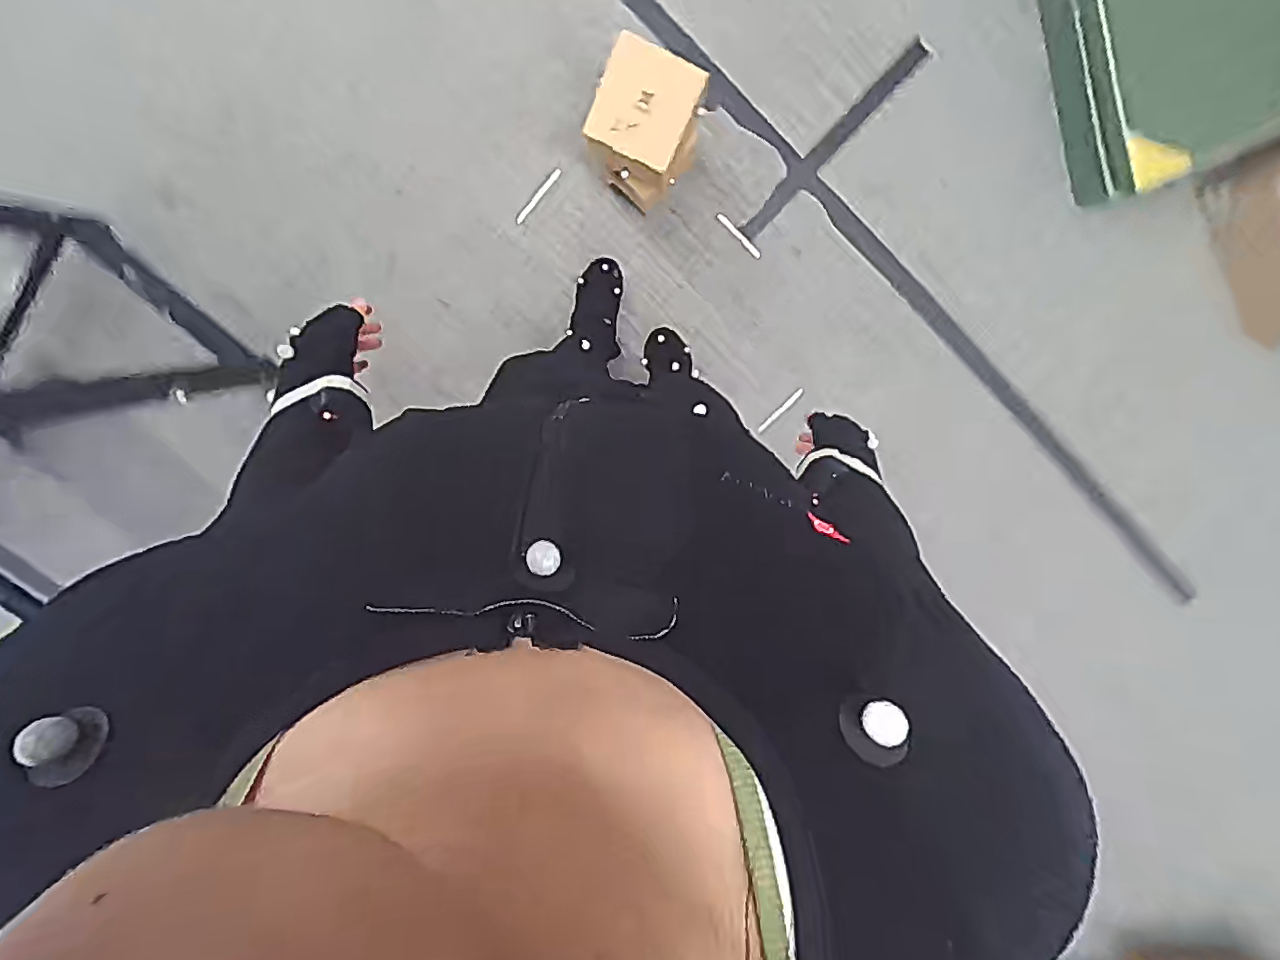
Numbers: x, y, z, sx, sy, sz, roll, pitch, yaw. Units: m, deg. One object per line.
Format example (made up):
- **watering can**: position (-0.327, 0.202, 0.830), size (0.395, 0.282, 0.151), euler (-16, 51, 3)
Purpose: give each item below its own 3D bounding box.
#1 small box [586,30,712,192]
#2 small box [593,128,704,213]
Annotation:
- **small box**: position (0.019, -0.685, 1.029), size (0.168, 0.176, 0.179), euler (30, 109, -5)
- **small box**: position (0.024, -0.723, 1.190), size (0.168, 0.176, 0.179), euler (42, 105, -9)
